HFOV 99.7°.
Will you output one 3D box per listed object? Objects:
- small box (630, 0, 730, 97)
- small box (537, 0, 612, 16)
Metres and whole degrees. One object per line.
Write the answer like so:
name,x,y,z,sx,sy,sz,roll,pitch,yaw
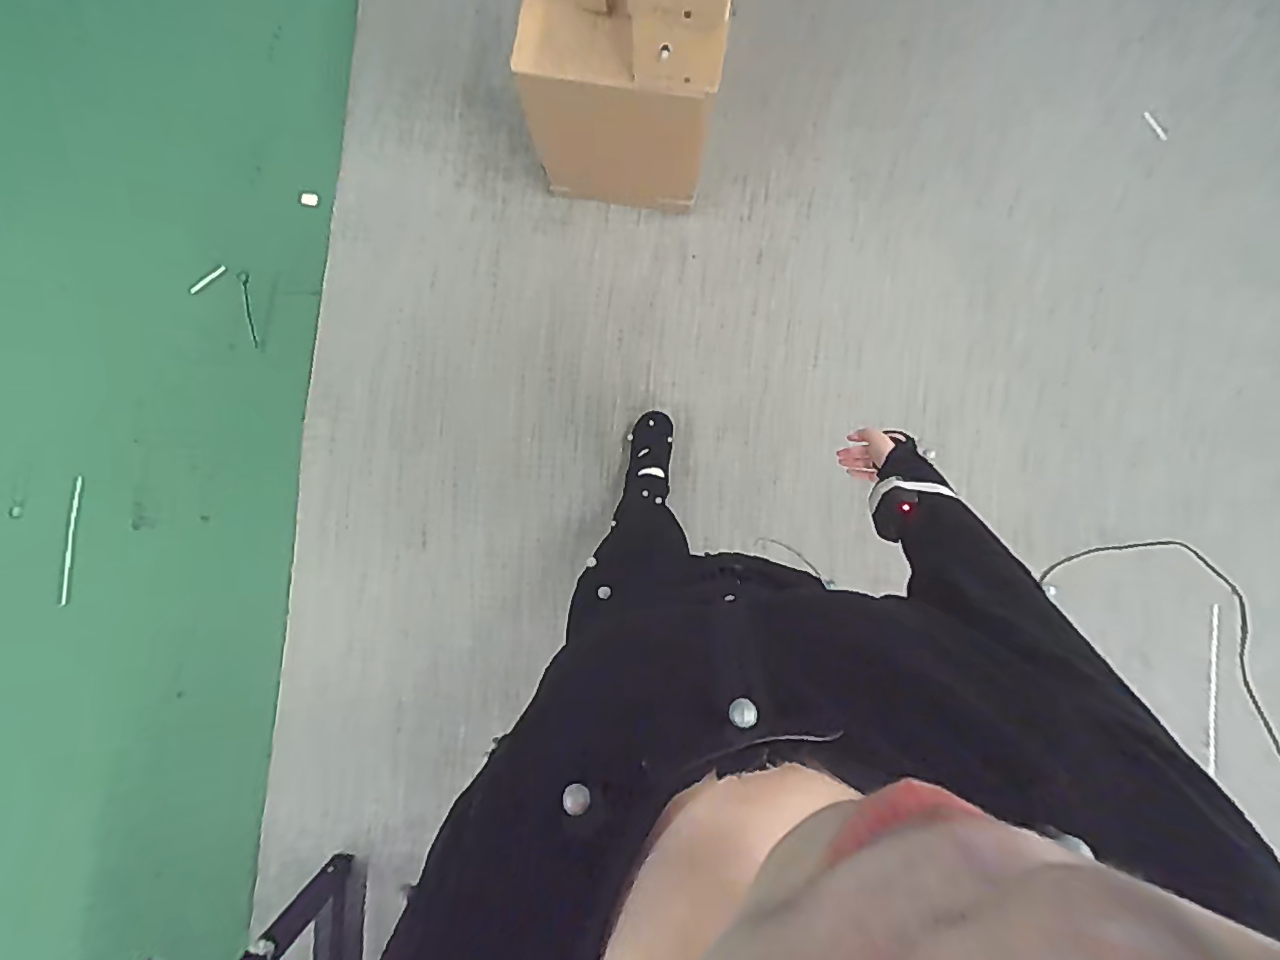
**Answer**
small box,0.079,-0.854,0.999,0.168,0.176,0.179,7,87,2
small box,-0.131,-1.031,1.017,0.179,0.176,0.168,15,87,2
